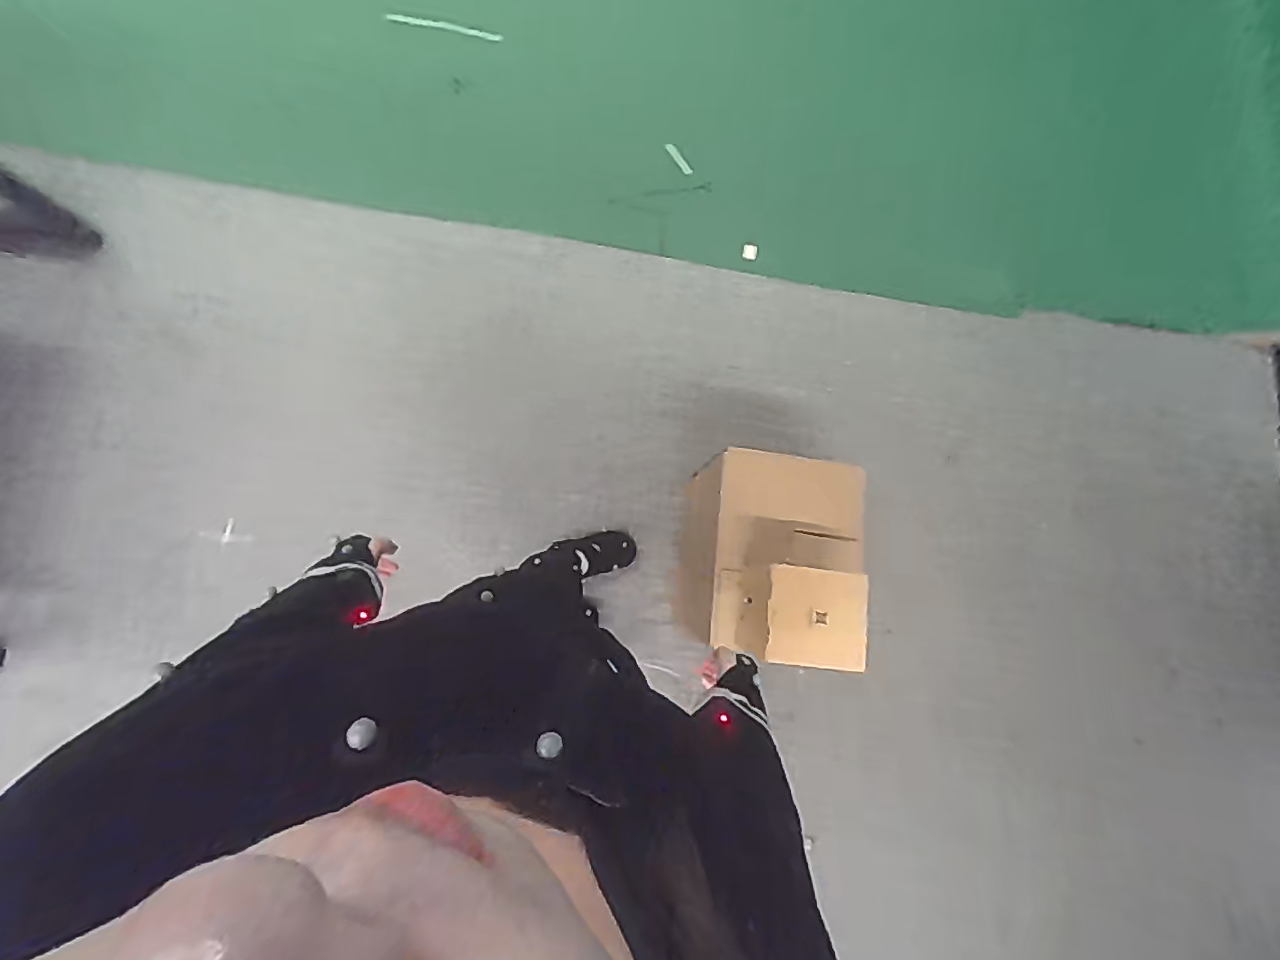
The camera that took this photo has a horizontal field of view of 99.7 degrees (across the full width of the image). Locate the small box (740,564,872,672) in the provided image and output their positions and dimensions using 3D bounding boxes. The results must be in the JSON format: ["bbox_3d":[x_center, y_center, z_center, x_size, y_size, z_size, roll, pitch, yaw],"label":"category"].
[{"bbox_3d":[0.299,0.245,0.995,0.179,0.176,0.168,8,80,-4],"label":"small box"}]
